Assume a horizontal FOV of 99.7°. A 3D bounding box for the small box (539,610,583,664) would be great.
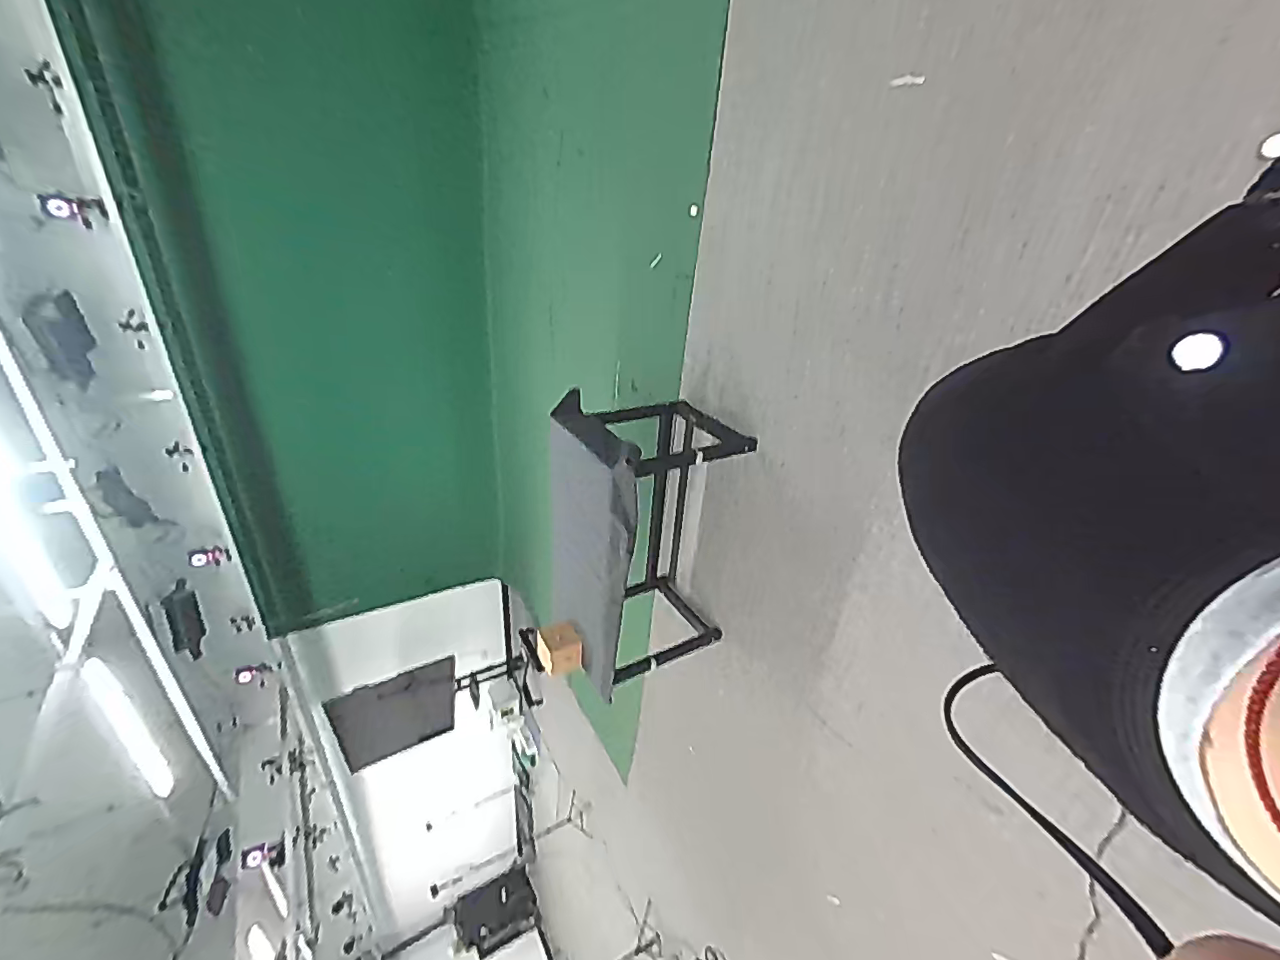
[{"bbox_3d":[-0.396,0.782,2.722,0.179,0.176,0.168,39,133,46],"label":"small box"}]
